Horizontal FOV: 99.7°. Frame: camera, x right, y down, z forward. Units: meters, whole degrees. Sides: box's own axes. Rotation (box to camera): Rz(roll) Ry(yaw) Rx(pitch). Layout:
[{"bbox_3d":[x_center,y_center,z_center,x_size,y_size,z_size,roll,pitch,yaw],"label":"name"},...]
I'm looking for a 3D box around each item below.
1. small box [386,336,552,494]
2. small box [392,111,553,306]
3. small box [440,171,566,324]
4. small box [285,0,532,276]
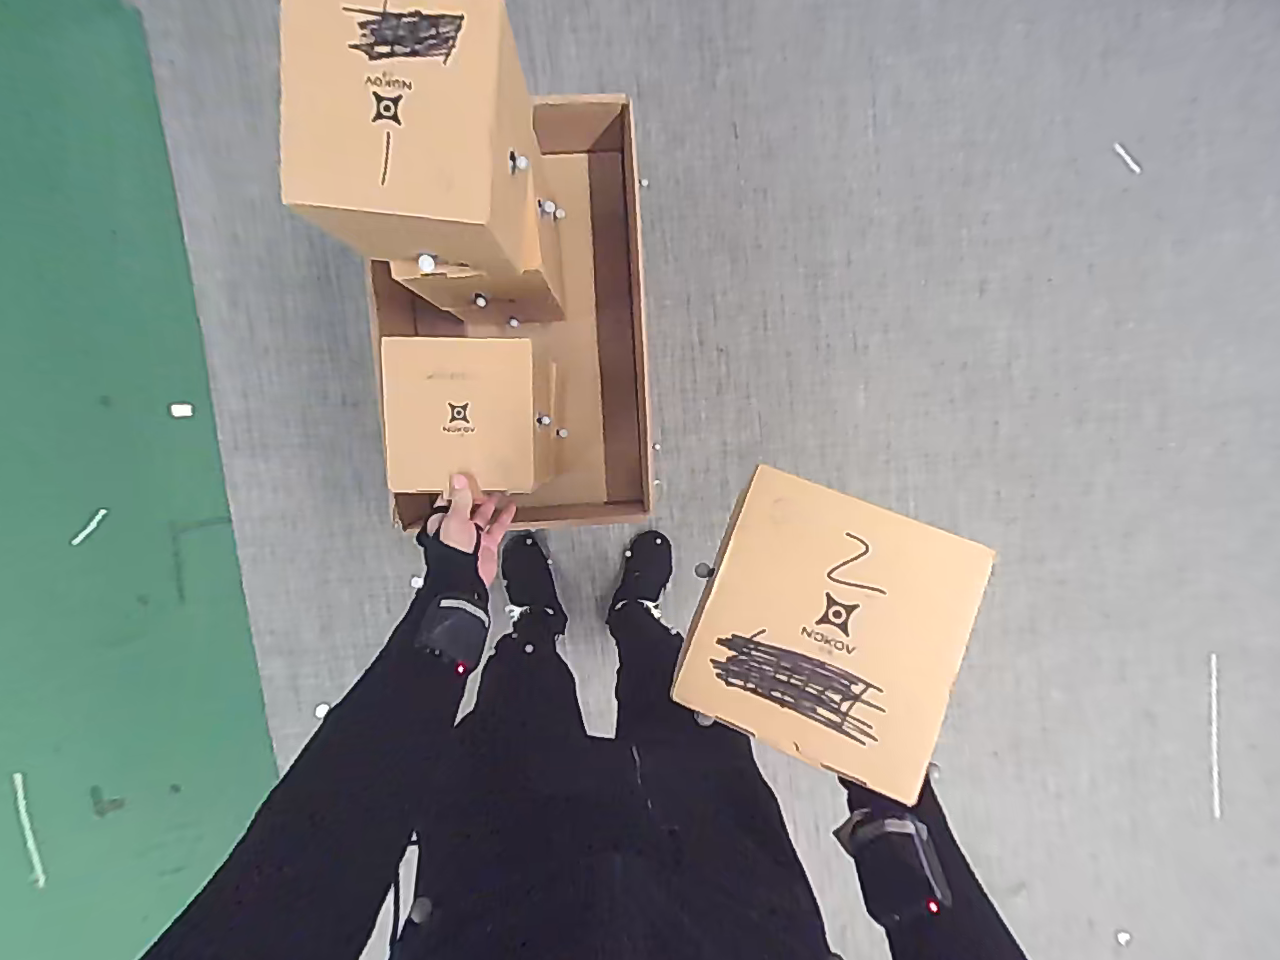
[{"bbox_3d":[-0.204,-0.082,0.689,0.168,0.176,0.179,1,97,-3],"label":"small box"},{"bbox_3d":[-0.202,-0.324,0.671,0.168,0.176,0.179,-4,99,-3],"label":"small box"},{"bbox_3d":[-0.208,-0.346,0.831,0.168,0.176,0.179,-4,97,-2],"label":"small box"},{"bbox_3d":[-0.198,-0.308,0.506,0.168,0.176,0.179,5,98,-3],"label":"small box"}]
